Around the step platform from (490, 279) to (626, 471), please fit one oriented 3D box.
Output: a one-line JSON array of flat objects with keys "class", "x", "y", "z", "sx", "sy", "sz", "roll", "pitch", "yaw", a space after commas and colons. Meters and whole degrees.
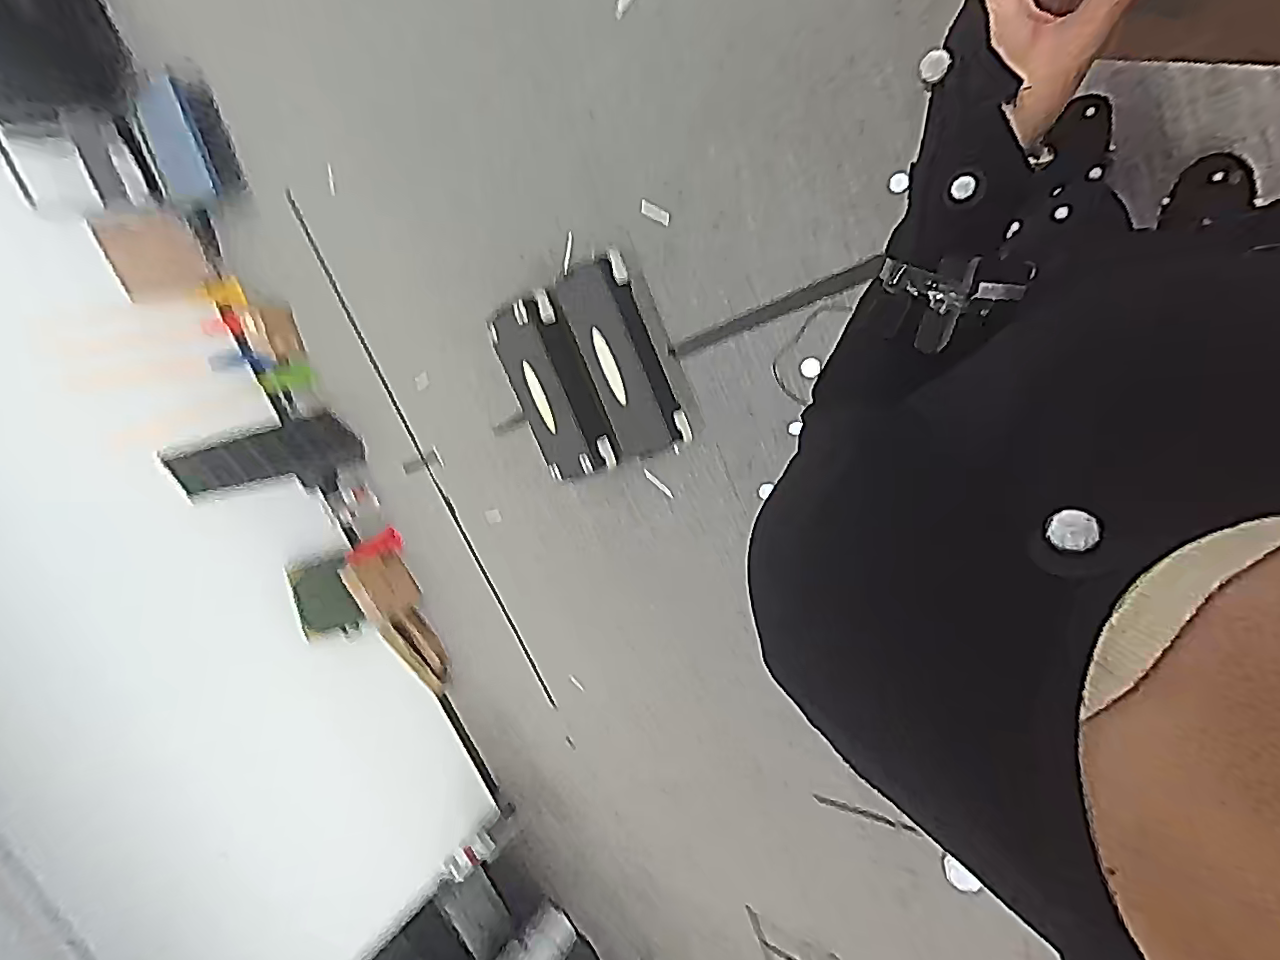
[{"class": "step platform", "x": -0.305, "y": -0.369, "z": 2.010, "sx": 0.286, "sy": 0.204, "sz": 0.684, "roll": -4, "pitch": 110, "yaw": 45}]
